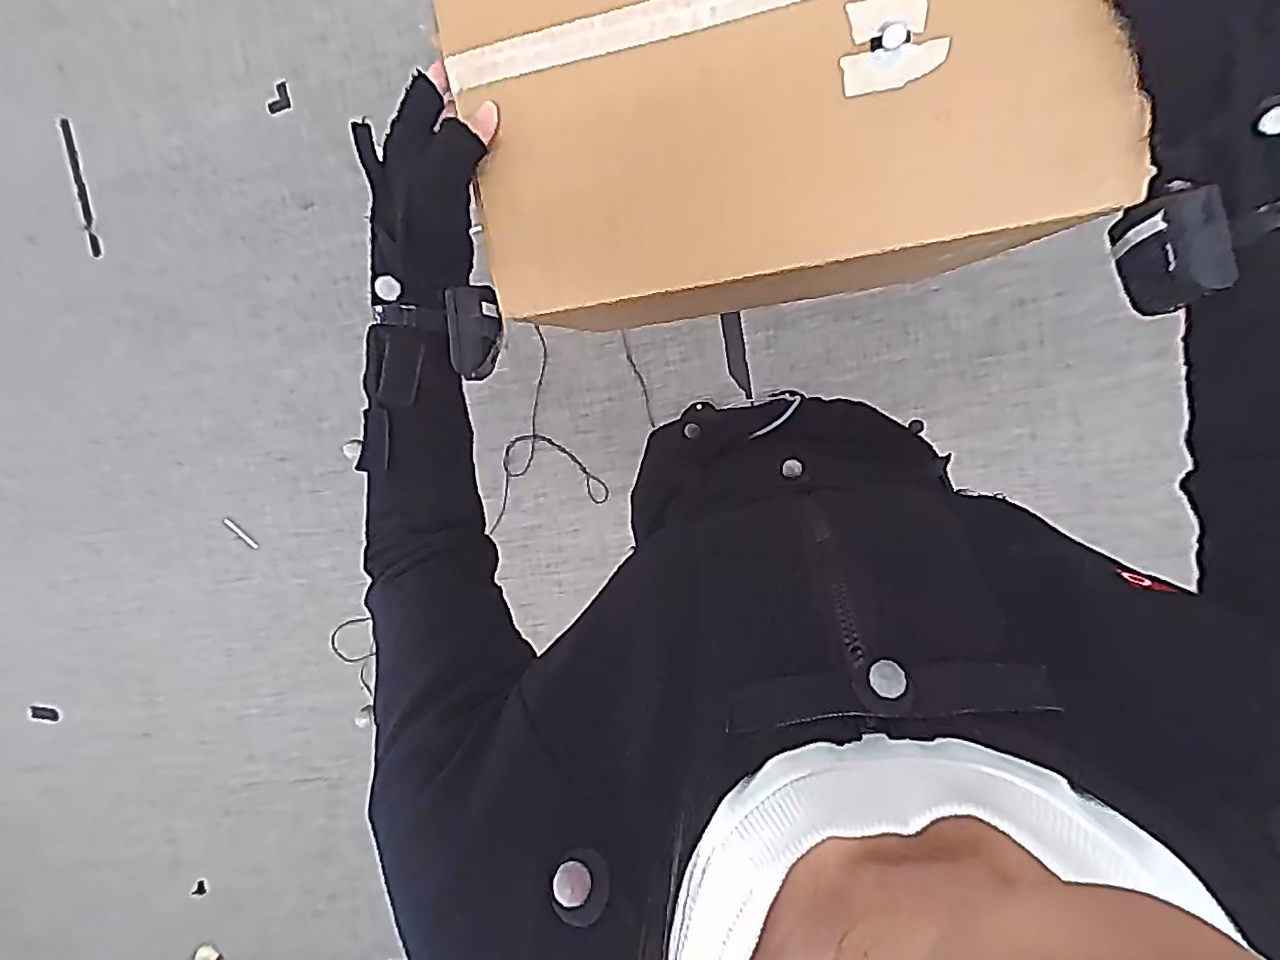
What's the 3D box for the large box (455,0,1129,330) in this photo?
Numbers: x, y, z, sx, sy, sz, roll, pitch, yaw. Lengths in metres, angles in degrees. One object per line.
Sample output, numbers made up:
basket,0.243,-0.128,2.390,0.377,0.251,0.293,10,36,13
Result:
large box,0.096,-0.330,0.476,0.408,0.320,0.320,-8,103,9
